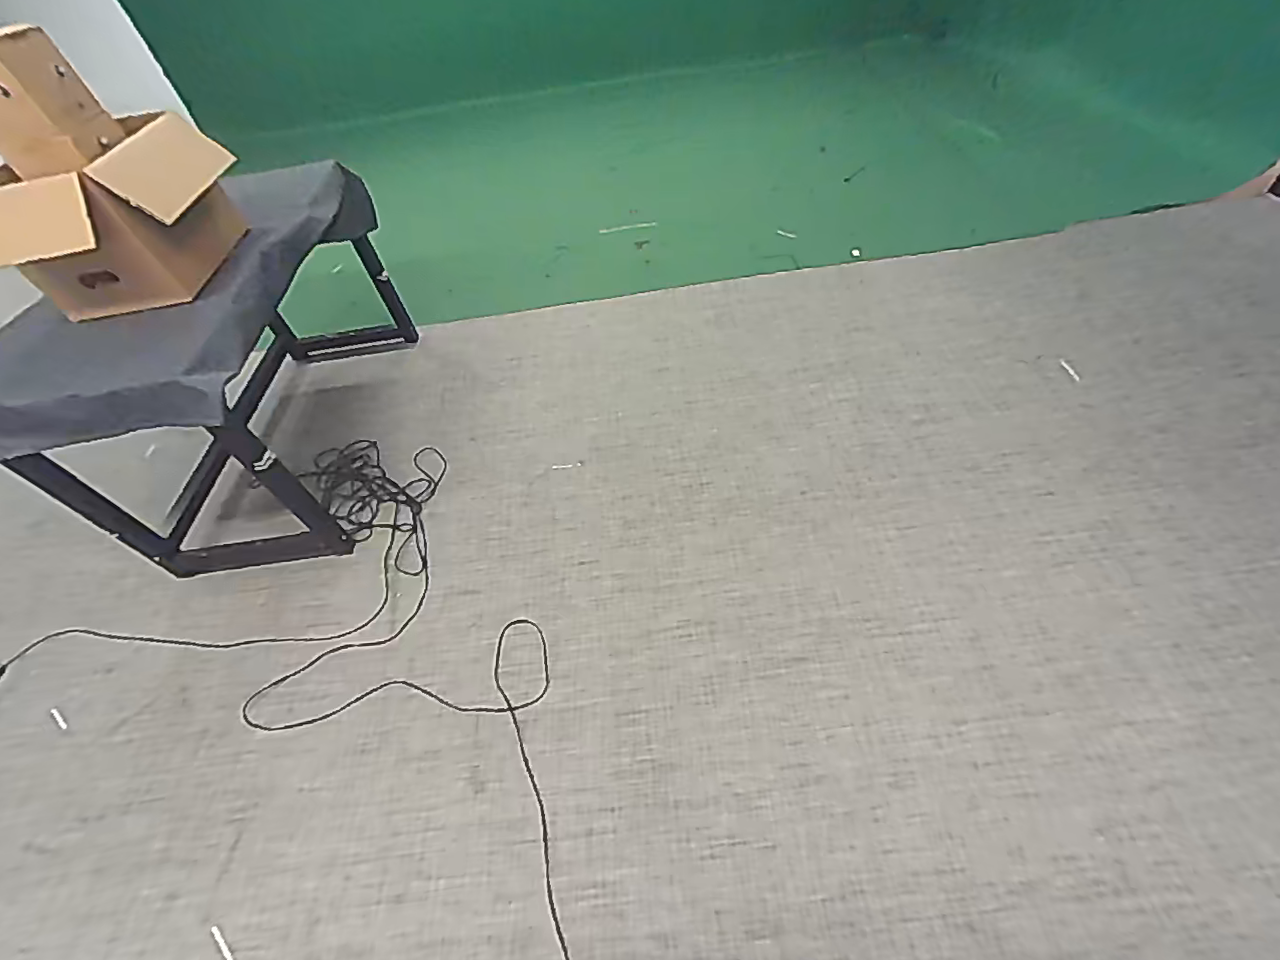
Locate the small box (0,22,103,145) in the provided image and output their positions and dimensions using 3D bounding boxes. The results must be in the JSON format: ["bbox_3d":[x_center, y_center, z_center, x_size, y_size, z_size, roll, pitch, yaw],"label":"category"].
[{"bbox_3d":[-1.339,-0.846,1.162,0.179,0.176,0.168,-9,49,3],"label":"small box"}]

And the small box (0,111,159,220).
[{"bbox_3d":[-1.312,-0.745,1.286,0.168,0.176,0.179,-9,50,2],"label":"small box"}]
